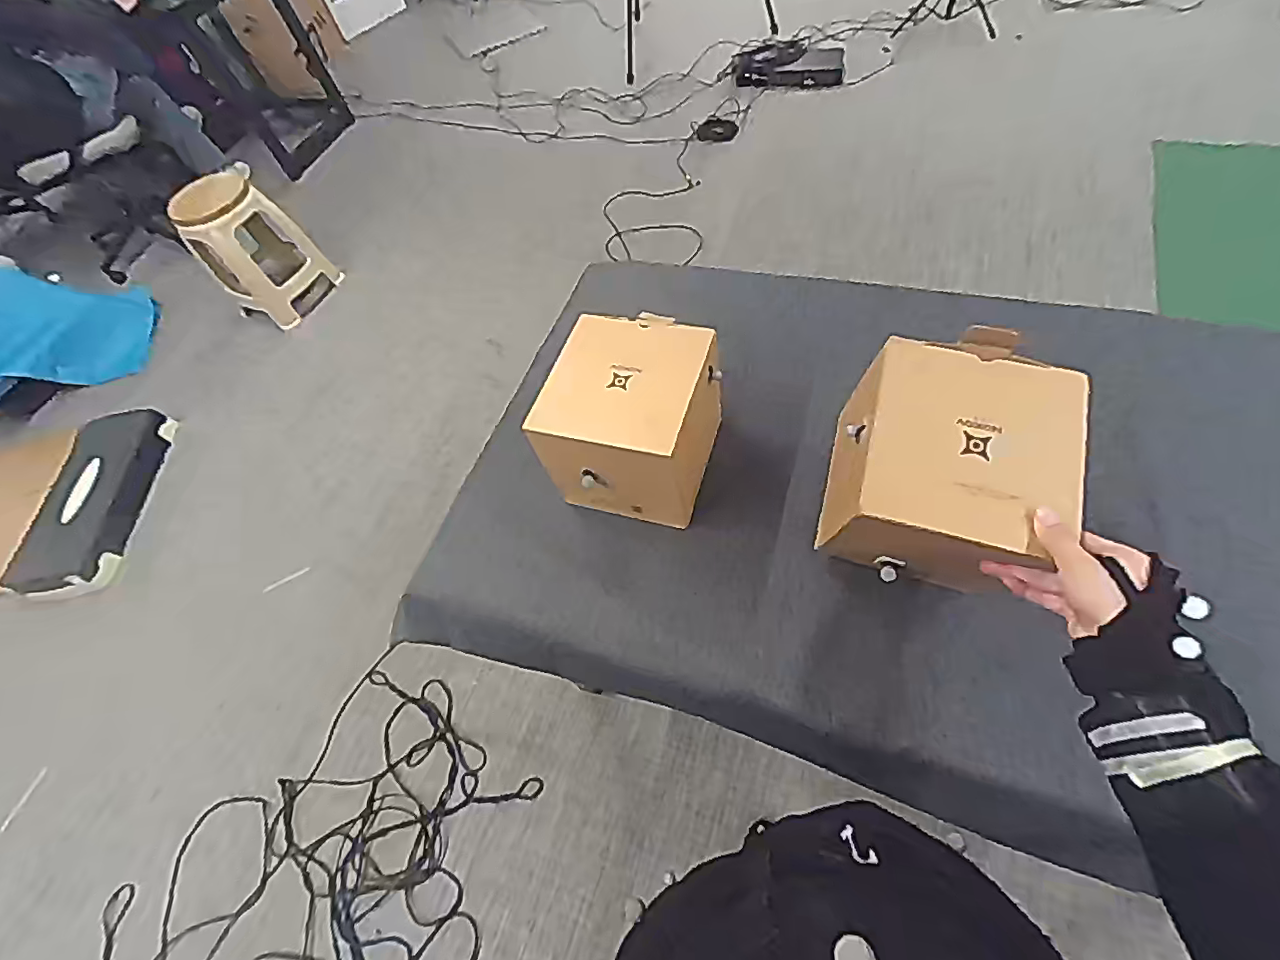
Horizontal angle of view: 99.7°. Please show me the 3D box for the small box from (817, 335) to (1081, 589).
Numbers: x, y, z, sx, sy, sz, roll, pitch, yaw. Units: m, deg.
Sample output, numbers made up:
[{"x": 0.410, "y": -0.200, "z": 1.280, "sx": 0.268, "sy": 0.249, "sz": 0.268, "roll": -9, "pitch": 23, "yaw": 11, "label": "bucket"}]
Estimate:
[{"x": 0.281, "y": -0.008, "z": 0.524, "sx": 0.168, "sy": 0.176, "sz": 0.179, "roll": 13, "pitch": 72, "yaw": 10, "label": "small box"}]

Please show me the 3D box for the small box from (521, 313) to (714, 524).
[{"x": -0.010, "y": -0.068, "z": 0.641, "sx": 0.168, "sy": 0.176, "sz": 0.179, "roll": 11, "pitch": 60, "yaw": 17, "label": "small box"}]
